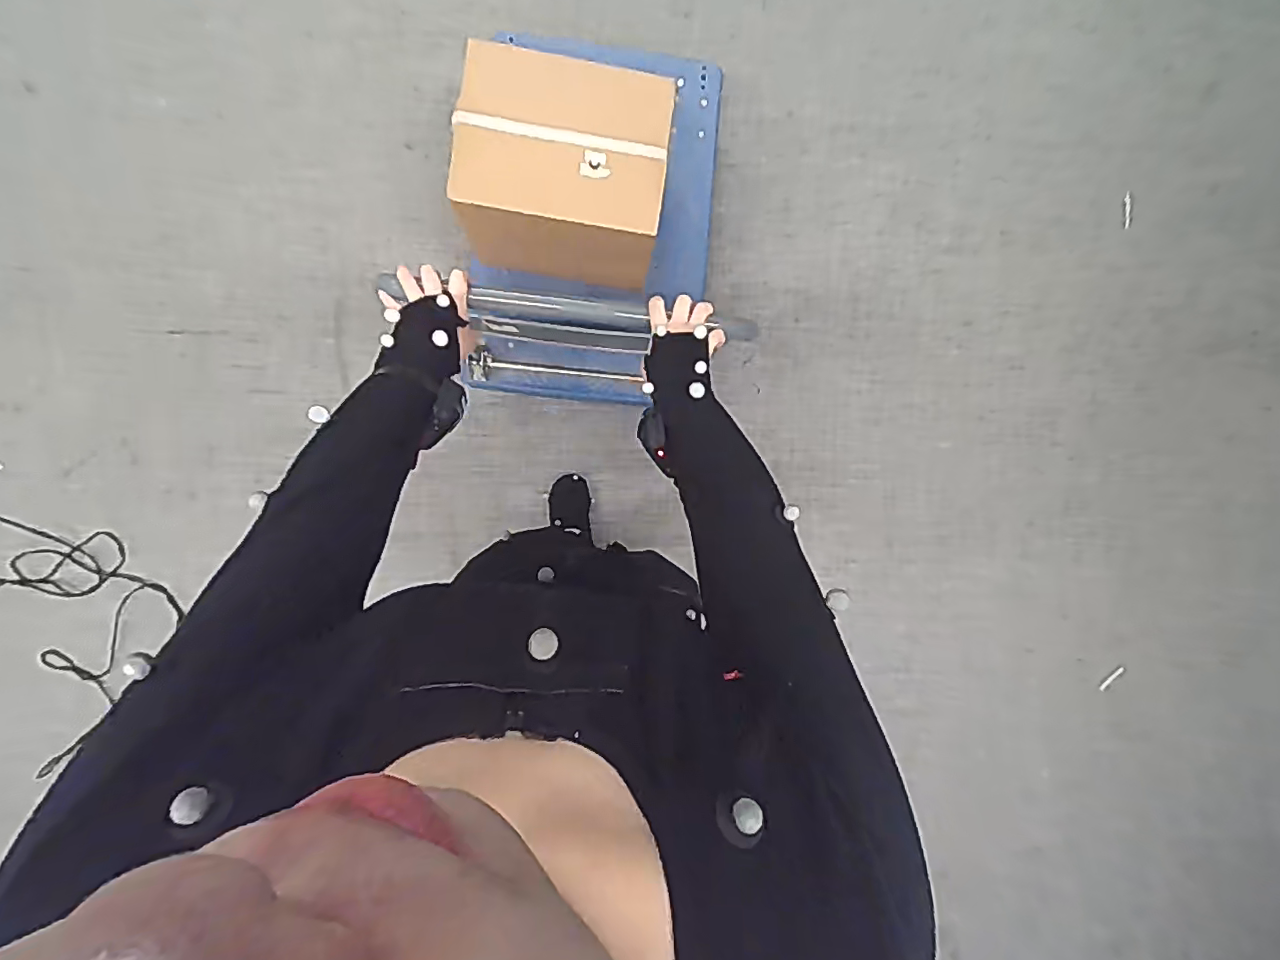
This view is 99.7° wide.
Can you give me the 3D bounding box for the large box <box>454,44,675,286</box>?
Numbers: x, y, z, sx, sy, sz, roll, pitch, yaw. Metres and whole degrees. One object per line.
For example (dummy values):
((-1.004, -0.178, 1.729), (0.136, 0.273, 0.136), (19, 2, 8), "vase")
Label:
((-0.159, -0.662, 1.198), (0.408, 0.320, 0.320), (8, 89, -6), "large box")
